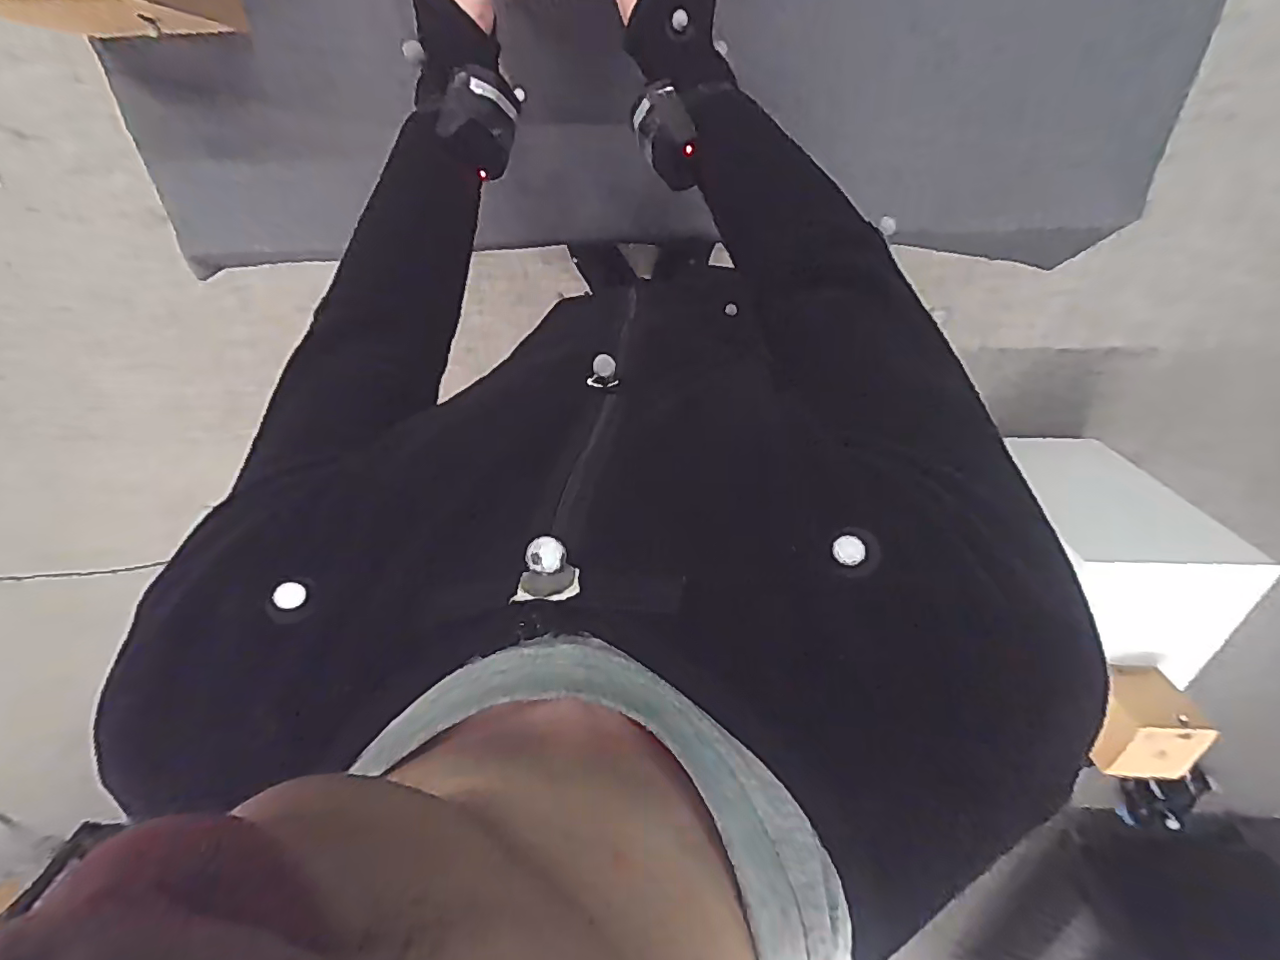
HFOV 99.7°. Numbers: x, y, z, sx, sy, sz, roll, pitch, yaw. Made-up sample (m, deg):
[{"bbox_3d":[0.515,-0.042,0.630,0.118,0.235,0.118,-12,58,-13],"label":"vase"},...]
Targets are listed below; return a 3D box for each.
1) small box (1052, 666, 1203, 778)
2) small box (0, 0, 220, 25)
[{"bbox_3d":[1.113,0.560,1.257,0.168,0.176,0.179,2,121,-1],"label":"small box"},{"bbox_3d":[-0.505,-0.510,0.458,0.179,0.176,0.168,-1,120,2],"label":"small box"}]
